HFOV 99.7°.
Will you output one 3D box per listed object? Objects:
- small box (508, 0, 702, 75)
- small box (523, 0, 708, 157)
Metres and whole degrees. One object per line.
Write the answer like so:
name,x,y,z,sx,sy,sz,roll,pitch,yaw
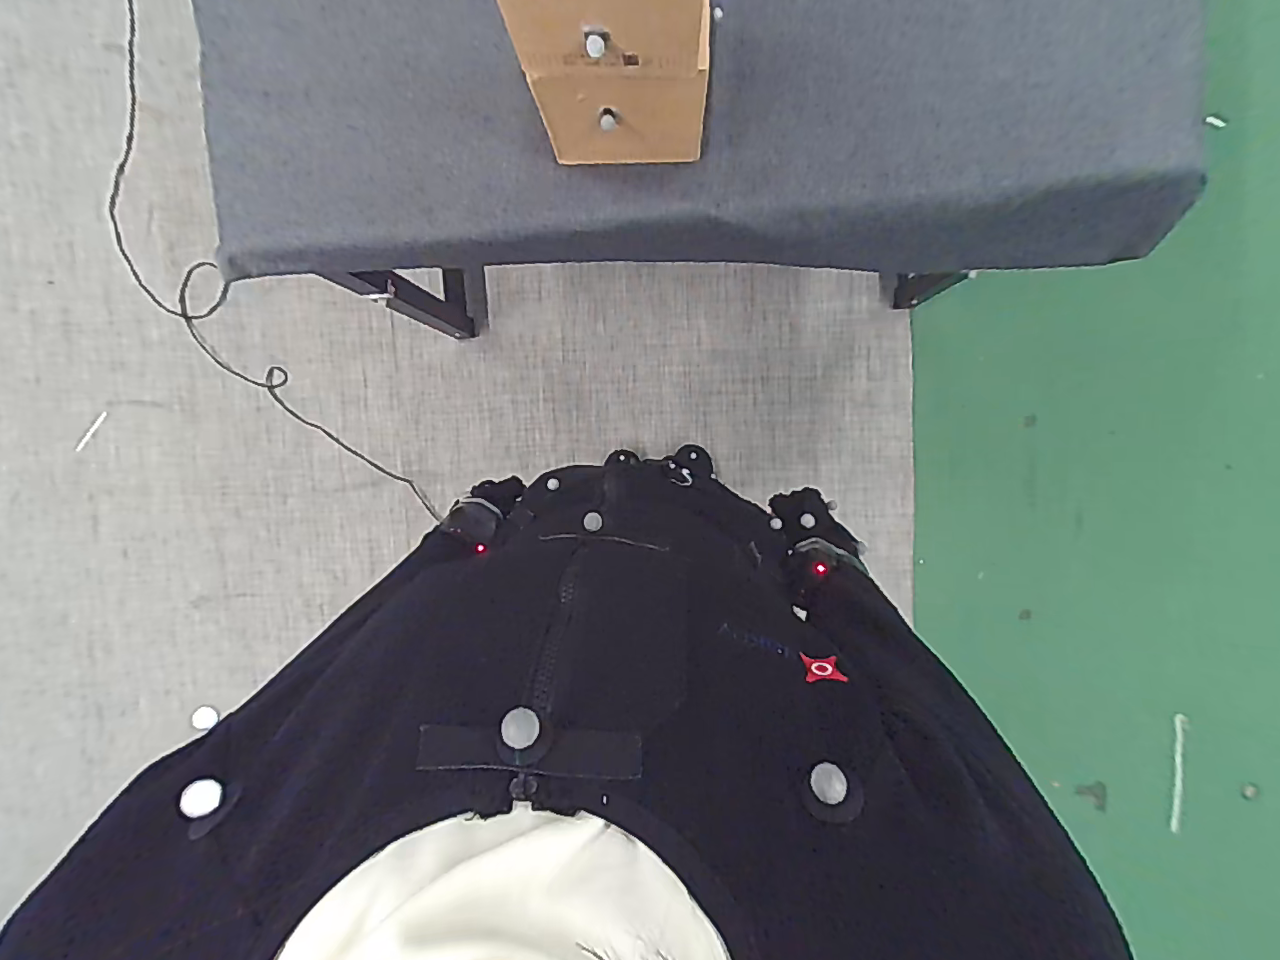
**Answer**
small box,-0.026,-0.464,0.418,0.168,0.176,0.179,4,95,2
small box,-0.018,-0.473,0.582,0.179,0.176,0.168,1,94,3
